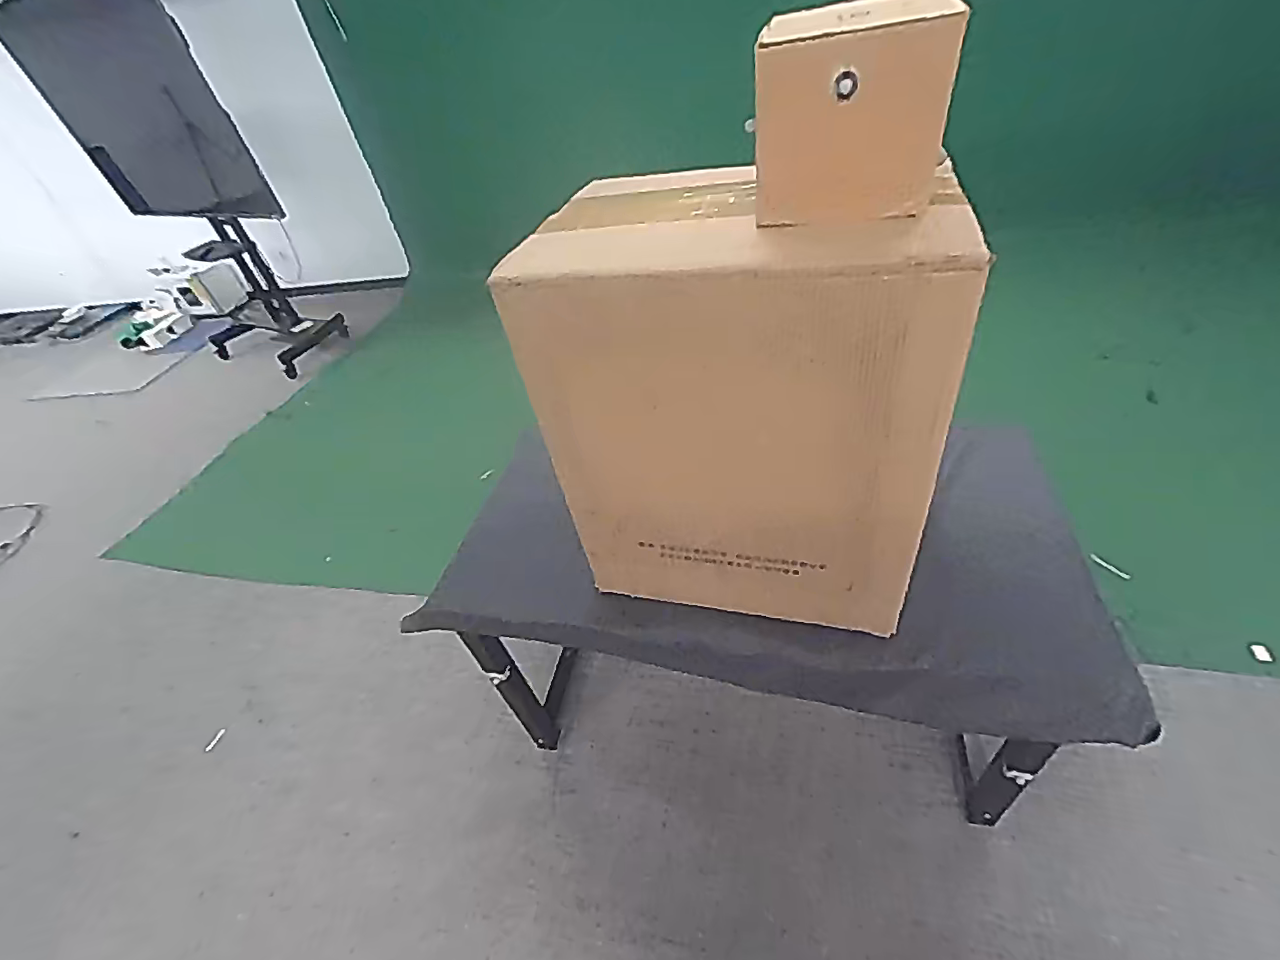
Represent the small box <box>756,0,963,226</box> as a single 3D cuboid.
[{"bbox_3d":[0.222,-0.390,0.587,0.179,0.176,0.168,6,47,16],"label":"small box"}]
